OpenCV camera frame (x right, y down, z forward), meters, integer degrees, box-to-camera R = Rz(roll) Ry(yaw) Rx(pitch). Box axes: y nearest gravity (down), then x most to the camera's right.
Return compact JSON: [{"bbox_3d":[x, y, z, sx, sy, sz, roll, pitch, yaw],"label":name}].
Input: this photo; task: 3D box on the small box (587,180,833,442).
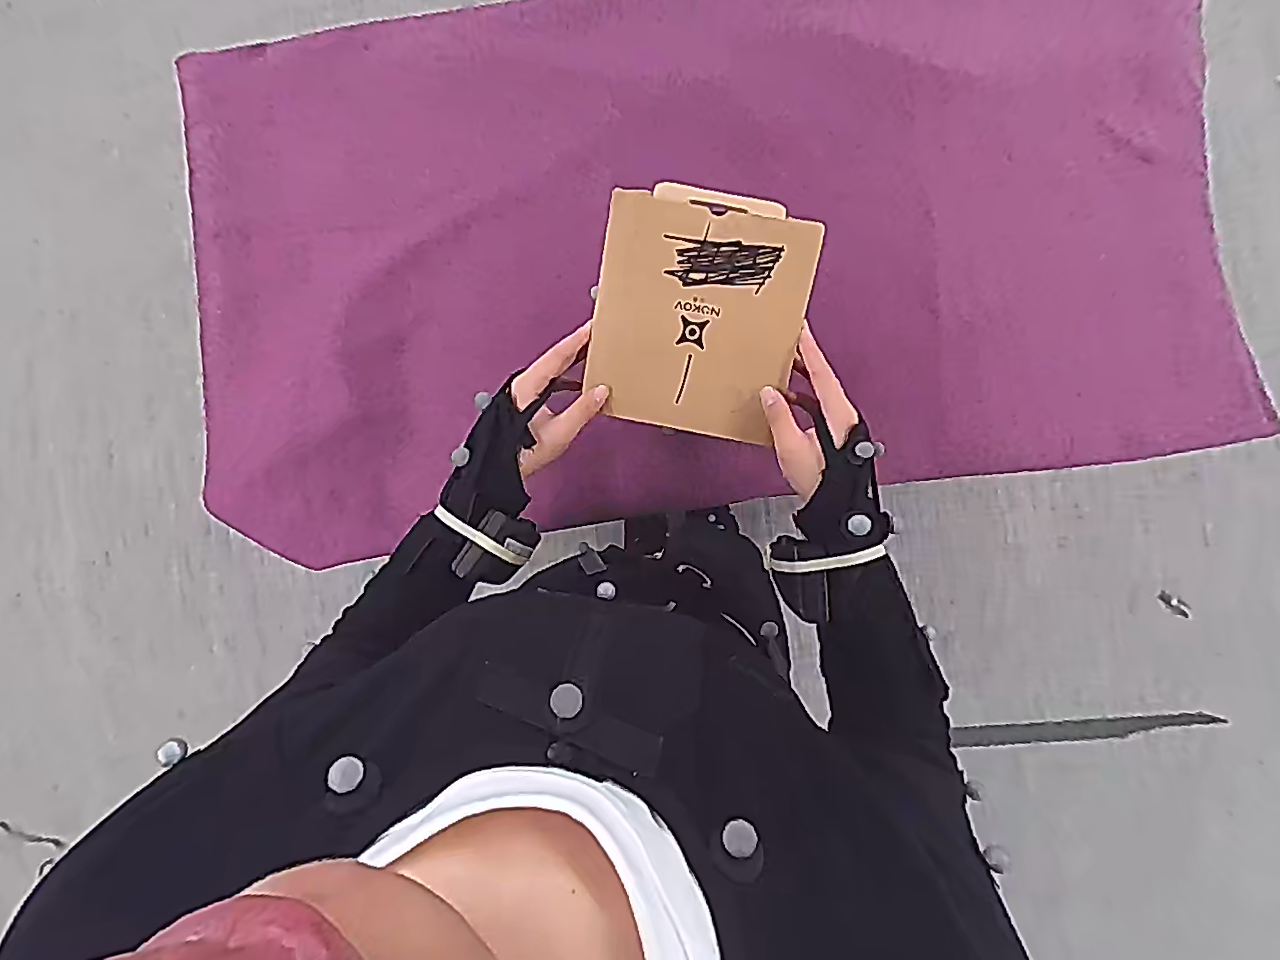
[{"bbox_3d":[0.056,-0.143,0.500,0.168,0.176,0.179,11,101,3],"label":"small box"}]
